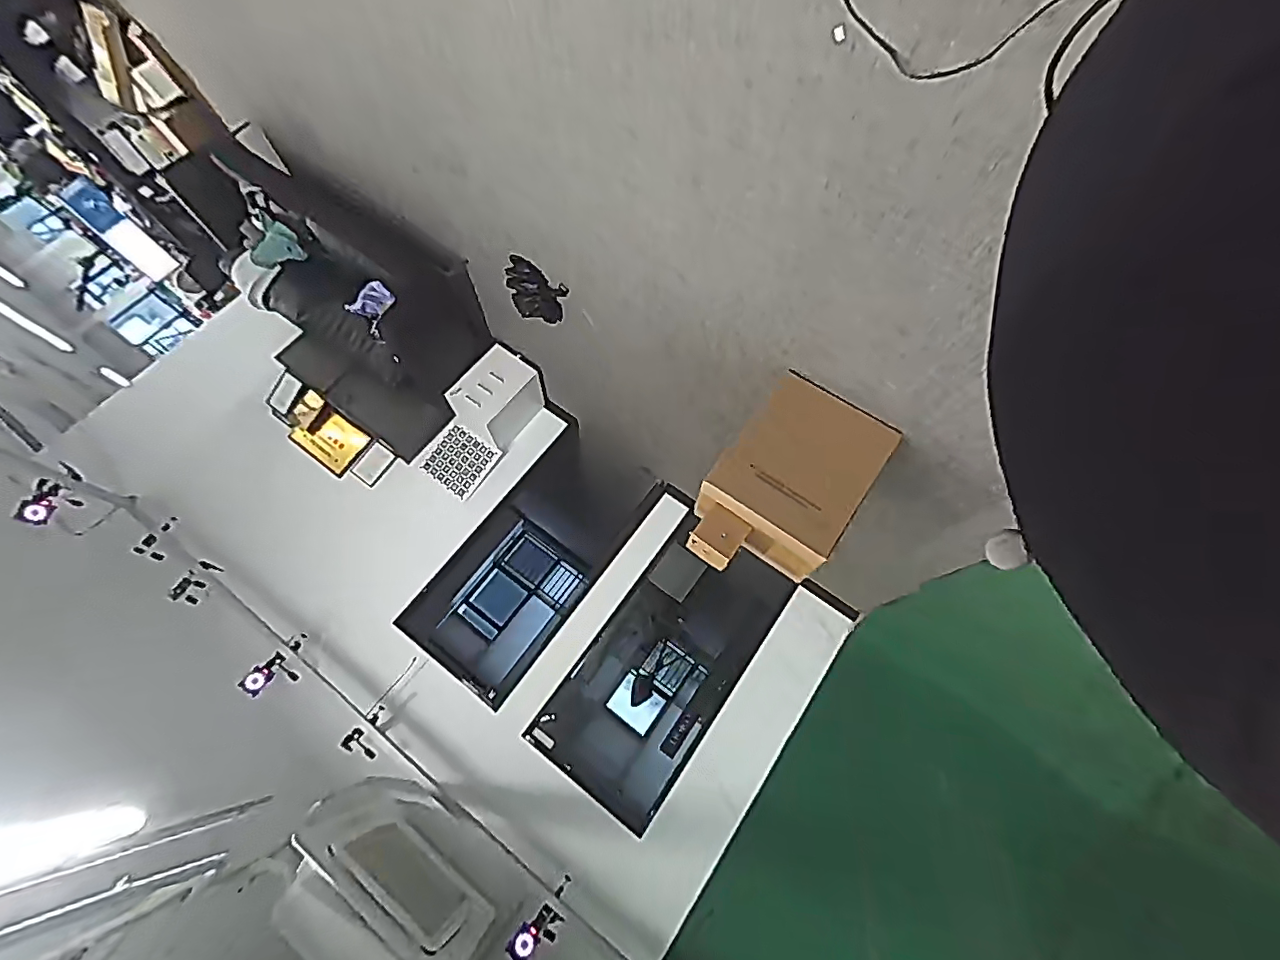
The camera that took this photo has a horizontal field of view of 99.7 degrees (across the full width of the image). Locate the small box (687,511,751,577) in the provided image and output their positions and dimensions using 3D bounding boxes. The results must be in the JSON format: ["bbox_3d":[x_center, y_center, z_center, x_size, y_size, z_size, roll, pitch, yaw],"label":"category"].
[{"bbox_3d":[0.311,0.250,2.127,0.179,0.176,0.168,35,156,12],"label":"small box"}]
